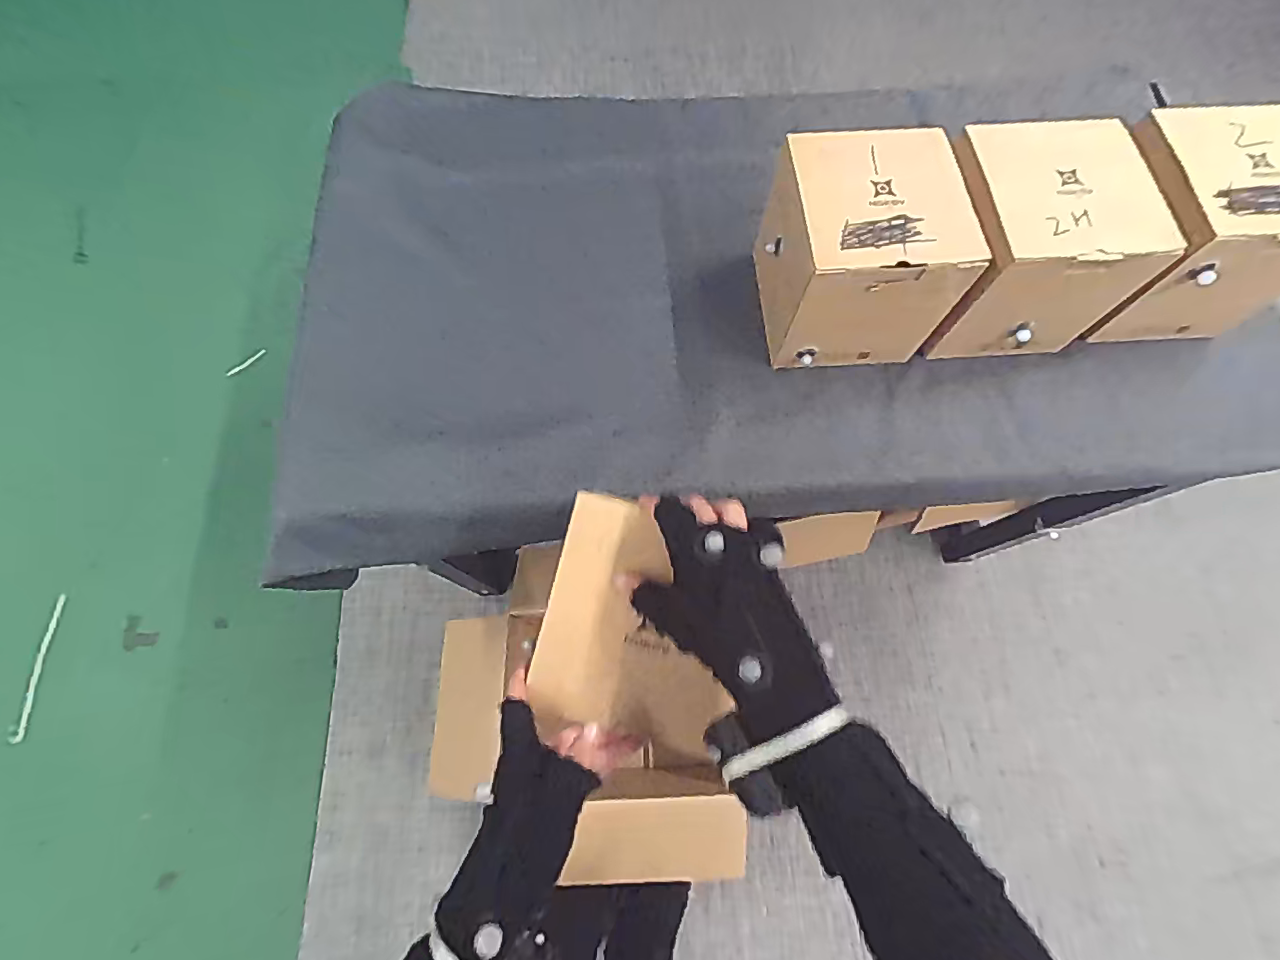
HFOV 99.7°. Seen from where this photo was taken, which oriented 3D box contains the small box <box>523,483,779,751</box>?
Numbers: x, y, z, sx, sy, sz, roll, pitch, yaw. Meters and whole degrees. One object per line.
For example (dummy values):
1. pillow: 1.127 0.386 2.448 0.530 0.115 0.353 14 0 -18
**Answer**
1. small box: 0.008 0.106 0.495 0.168 0.176 0.179 15 90 0
